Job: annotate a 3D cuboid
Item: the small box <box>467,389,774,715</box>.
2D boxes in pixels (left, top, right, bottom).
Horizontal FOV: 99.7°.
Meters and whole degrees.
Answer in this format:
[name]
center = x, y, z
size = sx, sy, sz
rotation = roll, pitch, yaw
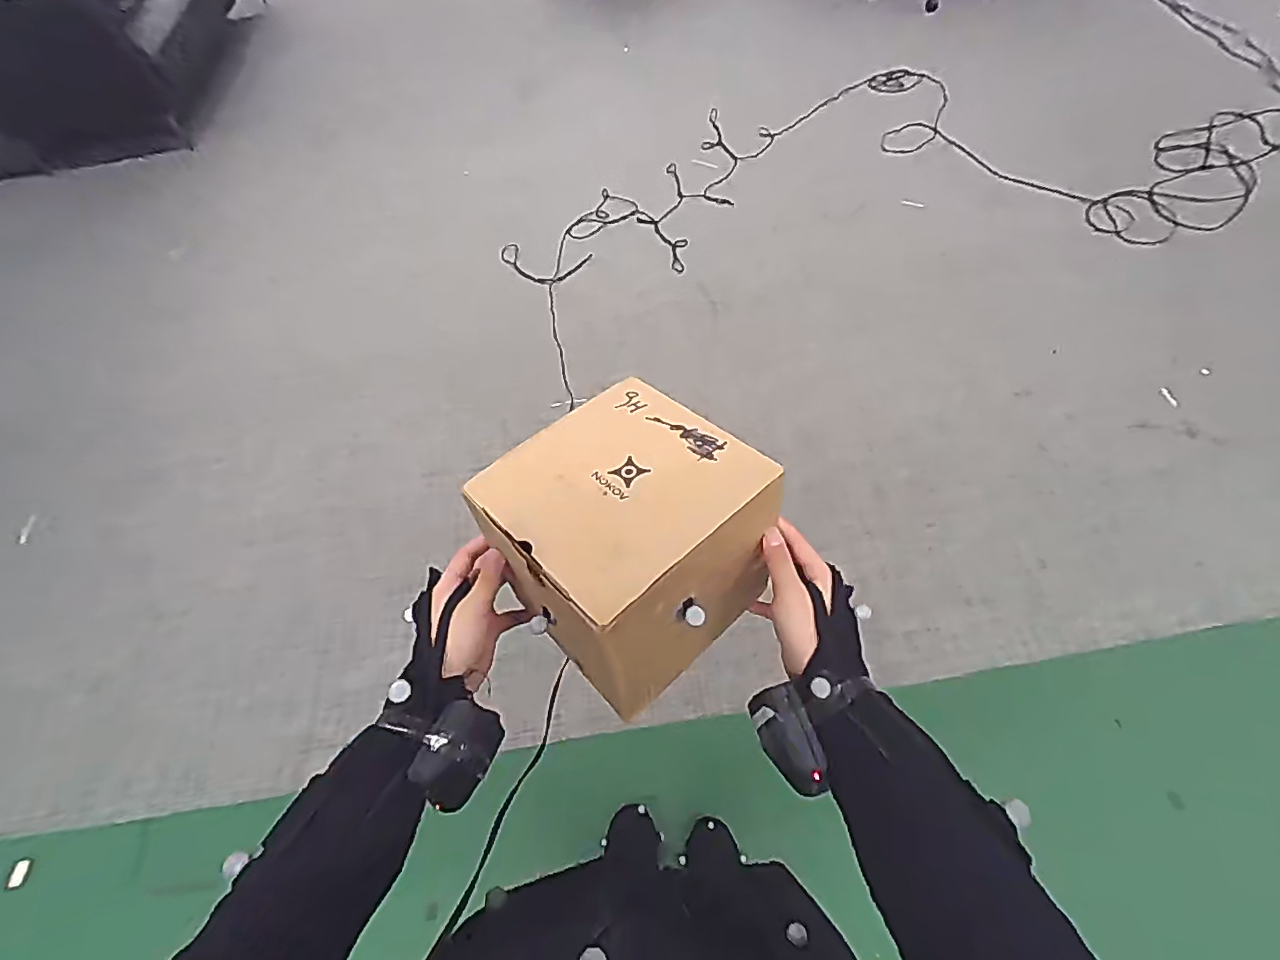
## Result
[small box]
center = -0.008, 0.061, 0.458
size = 0.179, 0.176, 0.168
rotation = -37, 54, -24
